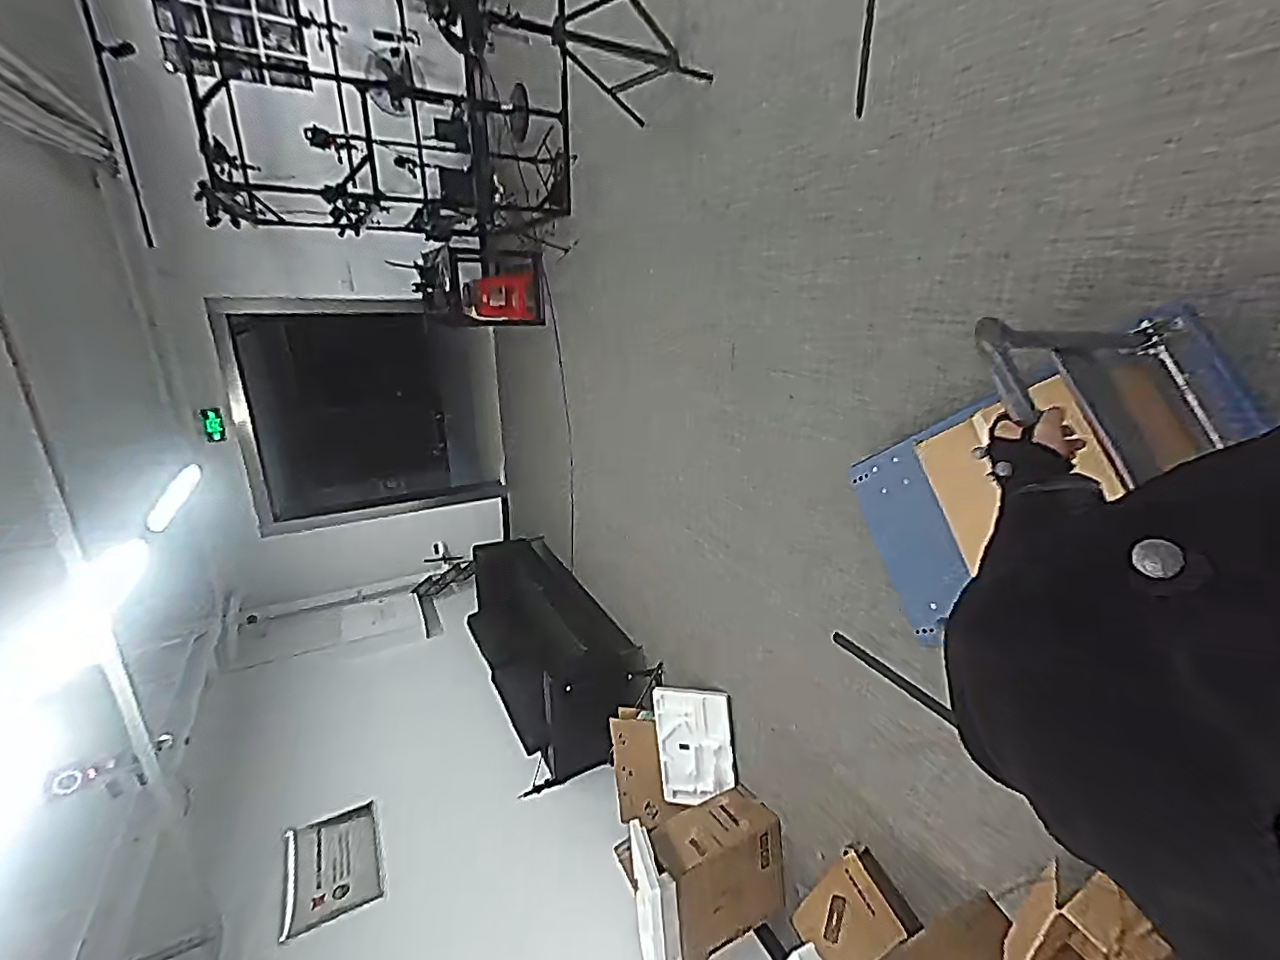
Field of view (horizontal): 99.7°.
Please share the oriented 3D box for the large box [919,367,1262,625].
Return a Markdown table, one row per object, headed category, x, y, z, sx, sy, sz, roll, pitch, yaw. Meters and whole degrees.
| category | x | y | z | sx | sy | sz | roll | pitch | yaw |
| --- | --- | --- | --- | --- | --- | --- | --- | --- | --- |
| large box | 0.851 | 0.033 | 1.061 | 0.320 | 0.320 | 0.408 | -43 | 60 | 59 |
